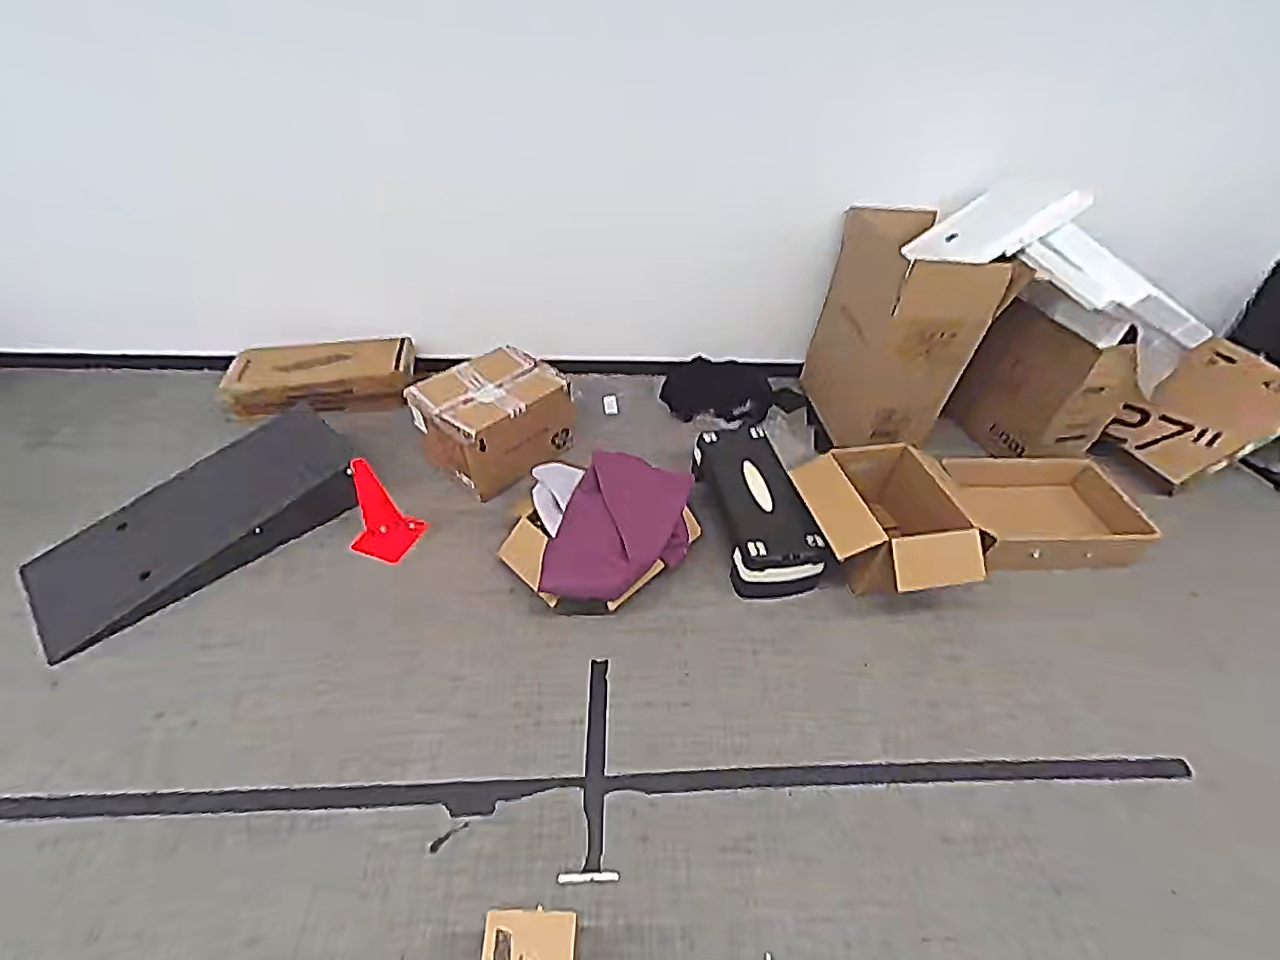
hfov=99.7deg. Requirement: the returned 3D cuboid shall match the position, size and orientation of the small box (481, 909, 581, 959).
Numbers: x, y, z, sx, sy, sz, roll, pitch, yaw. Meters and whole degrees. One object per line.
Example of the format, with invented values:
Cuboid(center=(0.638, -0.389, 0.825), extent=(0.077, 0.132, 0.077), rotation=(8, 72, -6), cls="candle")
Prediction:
Cuboid(center=(-0.212, 0.954, 1.050), extent=(0.179, 0.176, 0.168), rotation=(2, 44, -1), cls="small box")
